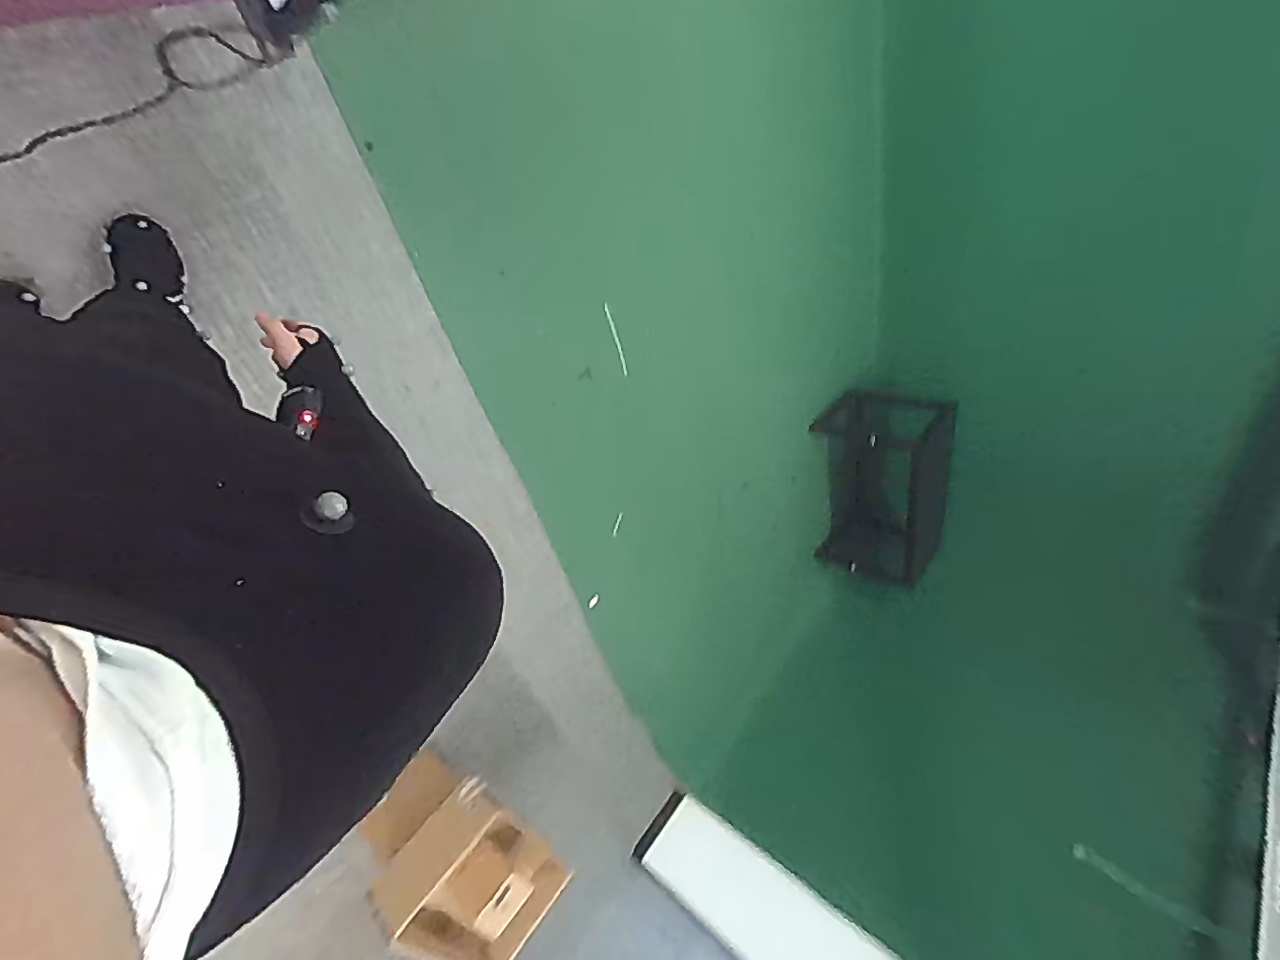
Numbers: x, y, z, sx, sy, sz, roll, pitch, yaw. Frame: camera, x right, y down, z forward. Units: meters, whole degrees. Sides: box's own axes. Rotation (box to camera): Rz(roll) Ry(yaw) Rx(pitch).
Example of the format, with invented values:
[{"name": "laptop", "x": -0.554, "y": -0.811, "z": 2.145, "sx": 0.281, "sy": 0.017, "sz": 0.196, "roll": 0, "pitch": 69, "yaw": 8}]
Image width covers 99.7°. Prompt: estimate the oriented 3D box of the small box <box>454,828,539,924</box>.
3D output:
[{"name": "small box", "x": -0.464, "y": 1.267, "z": 1.741, "sx": 0.168, "sy": 0.176, "sz": 0.179, "roll": -44, "pitch": 134, "yaw": -28}]
